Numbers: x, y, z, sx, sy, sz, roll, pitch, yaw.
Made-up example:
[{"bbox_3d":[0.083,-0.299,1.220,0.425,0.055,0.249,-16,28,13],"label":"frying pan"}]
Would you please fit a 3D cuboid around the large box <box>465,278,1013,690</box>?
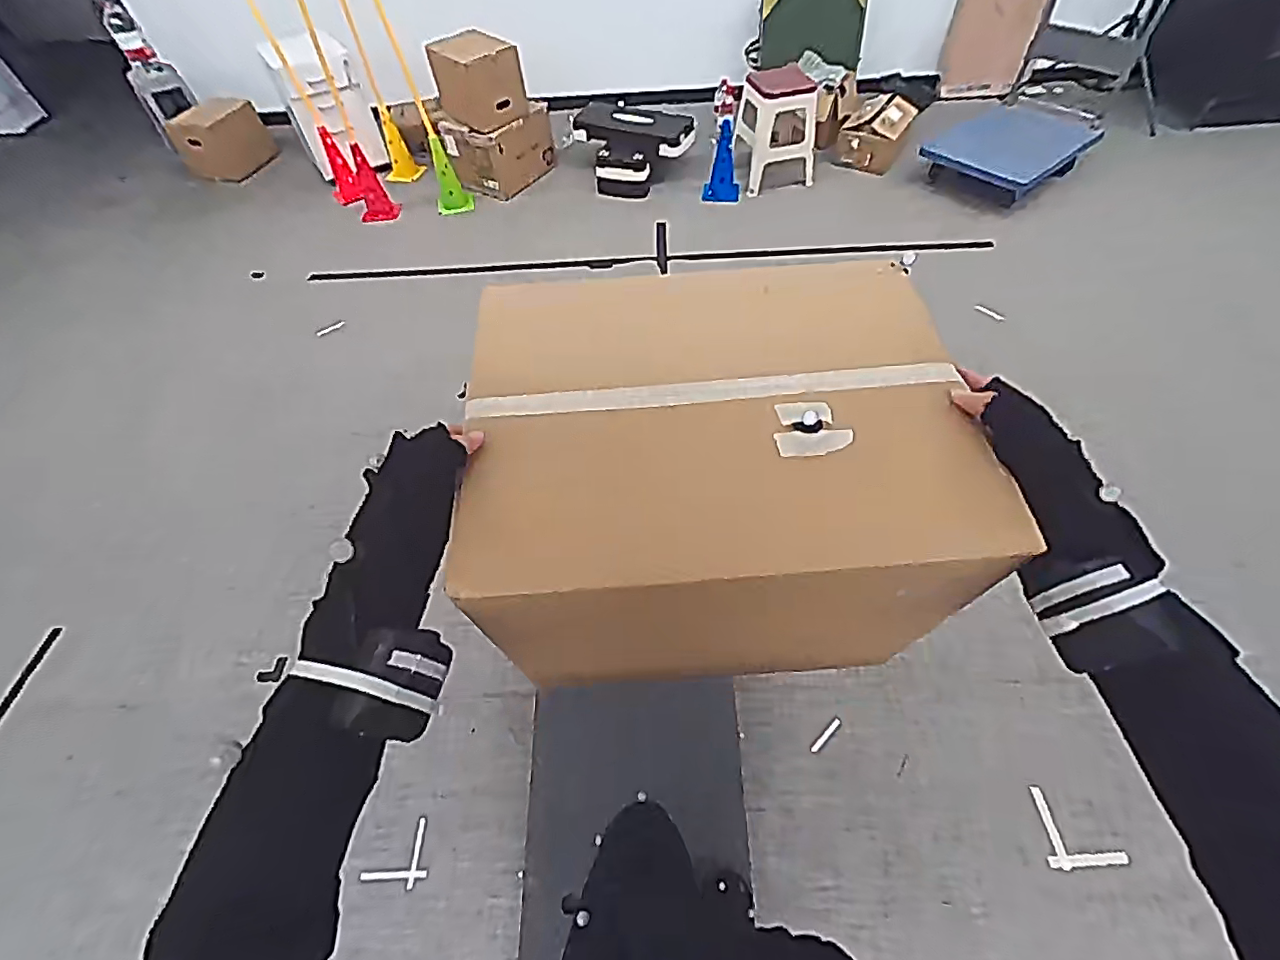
[{"bbox_3d":[0.062,0.019,0.586,0.408,0.320,0.320,-4,58,-1],"label":"large box"}]
